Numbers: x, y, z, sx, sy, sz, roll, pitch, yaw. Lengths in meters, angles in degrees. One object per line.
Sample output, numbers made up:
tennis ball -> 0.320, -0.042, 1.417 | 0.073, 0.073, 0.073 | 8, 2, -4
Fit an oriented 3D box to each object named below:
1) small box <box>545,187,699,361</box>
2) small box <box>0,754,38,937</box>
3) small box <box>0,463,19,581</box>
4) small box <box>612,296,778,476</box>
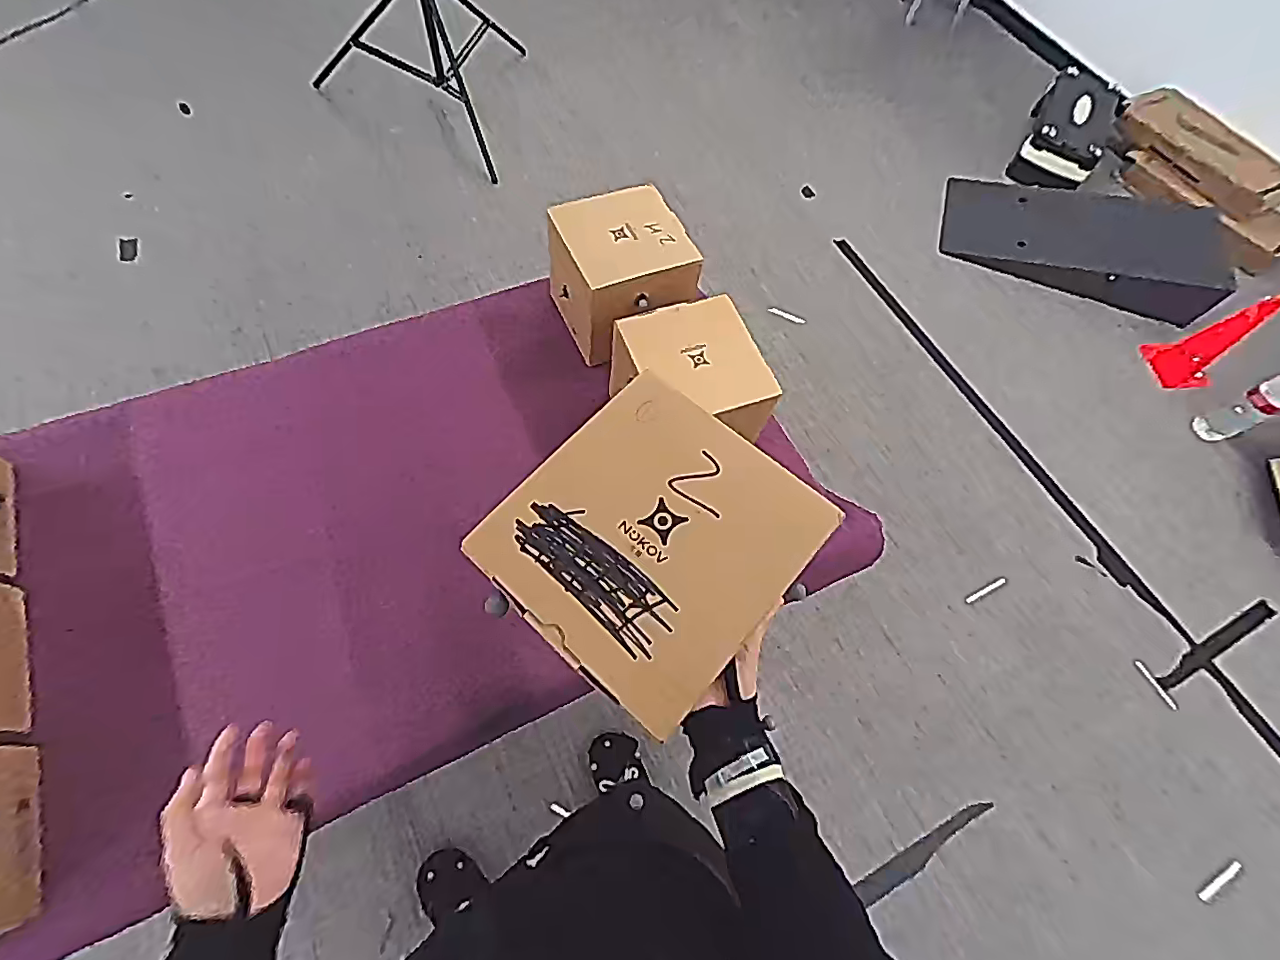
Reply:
small box -> -0.033, -0.309, 0.834 | 0.179, 0.176, 0.168 | -21, 70, -16
small box -> -0.676, 0.348, 0.456 | 0.179, 0.176, 0.168 | -21, 68, -17
small box -> -0.845, 0.046, 0.579 | 0.179, 0.176, 0.168 | -20, 71, -16
small box -> 0.065, -0.122, 0.764 | 0.168, 0.176, 0.179 | -18, 67, -13
